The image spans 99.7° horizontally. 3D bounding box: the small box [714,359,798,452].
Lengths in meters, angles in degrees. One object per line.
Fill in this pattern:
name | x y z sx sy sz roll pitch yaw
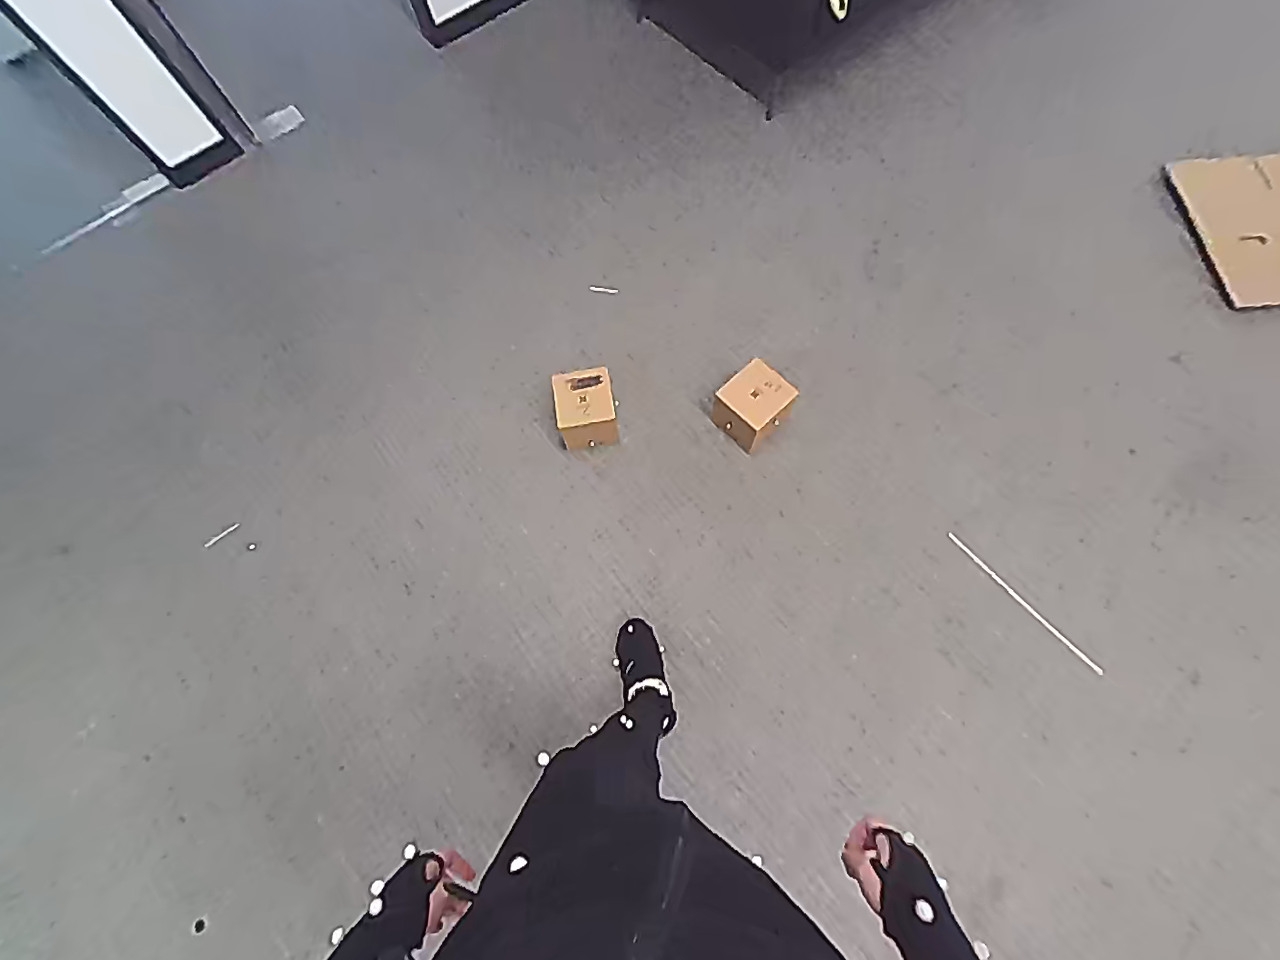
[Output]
small box | 0.332 -0.212 1.591 0.179 0.176 0.168 -41 74 -12
